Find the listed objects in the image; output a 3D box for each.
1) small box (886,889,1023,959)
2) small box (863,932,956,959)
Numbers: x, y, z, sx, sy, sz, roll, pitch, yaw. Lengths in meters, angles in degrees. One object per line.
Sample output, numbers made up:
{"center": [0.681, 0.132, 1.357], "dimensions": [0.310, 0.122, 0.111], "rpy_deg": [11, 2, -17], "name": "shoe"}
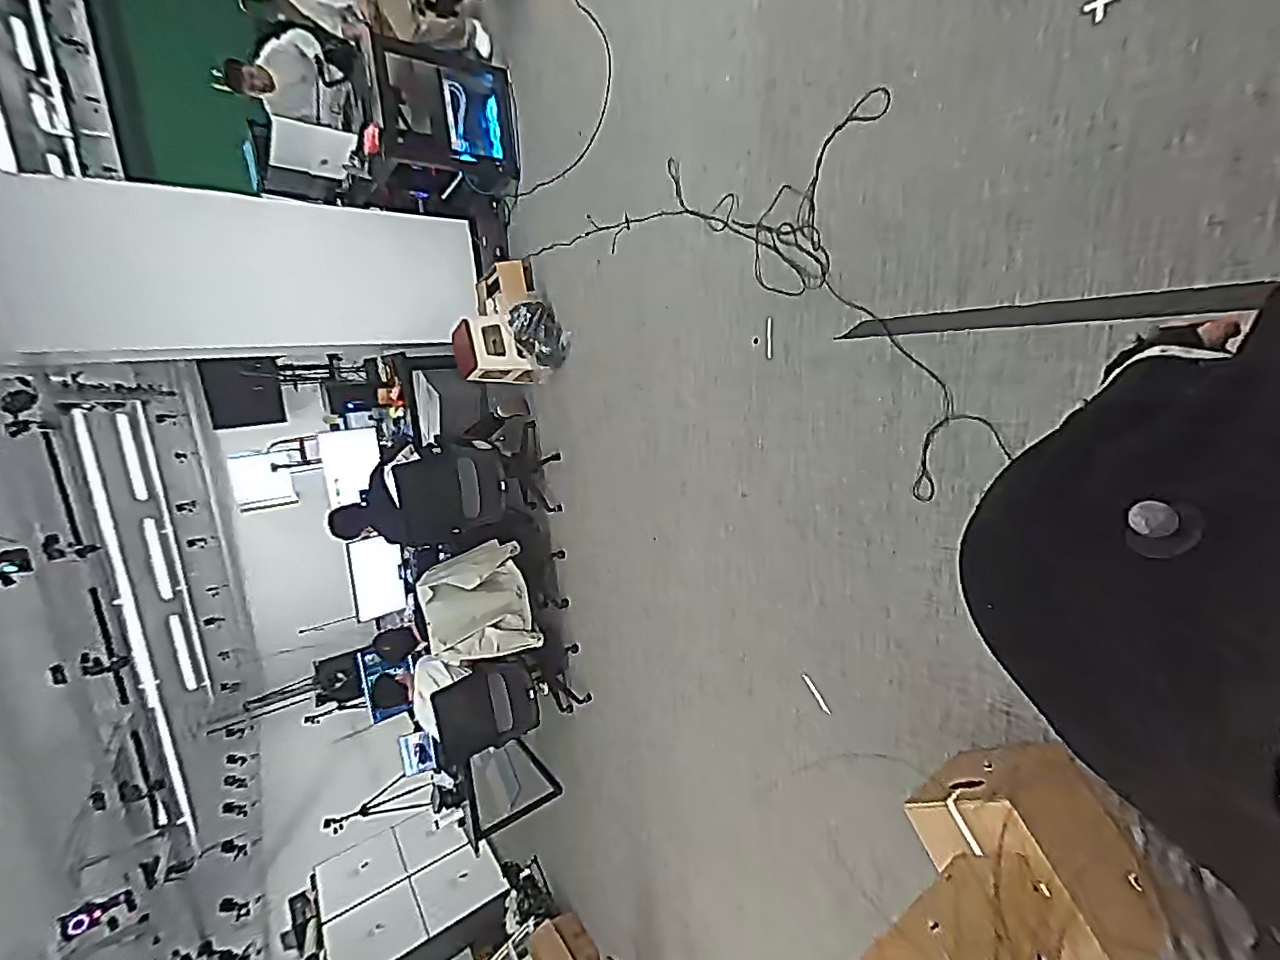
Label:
{"center": [0.661, 0.986, 1.120], "dimensions": [0.168, 0.176, 0.179], "rpy_deg": [64, 144, 21], "name": "small box"}
{"center": [0.527, 1.012, 1.031], "dimensions": [0.168, 0.176, 0.179], "rpy_deg": [64, 145, 19], "name": "small box"}
